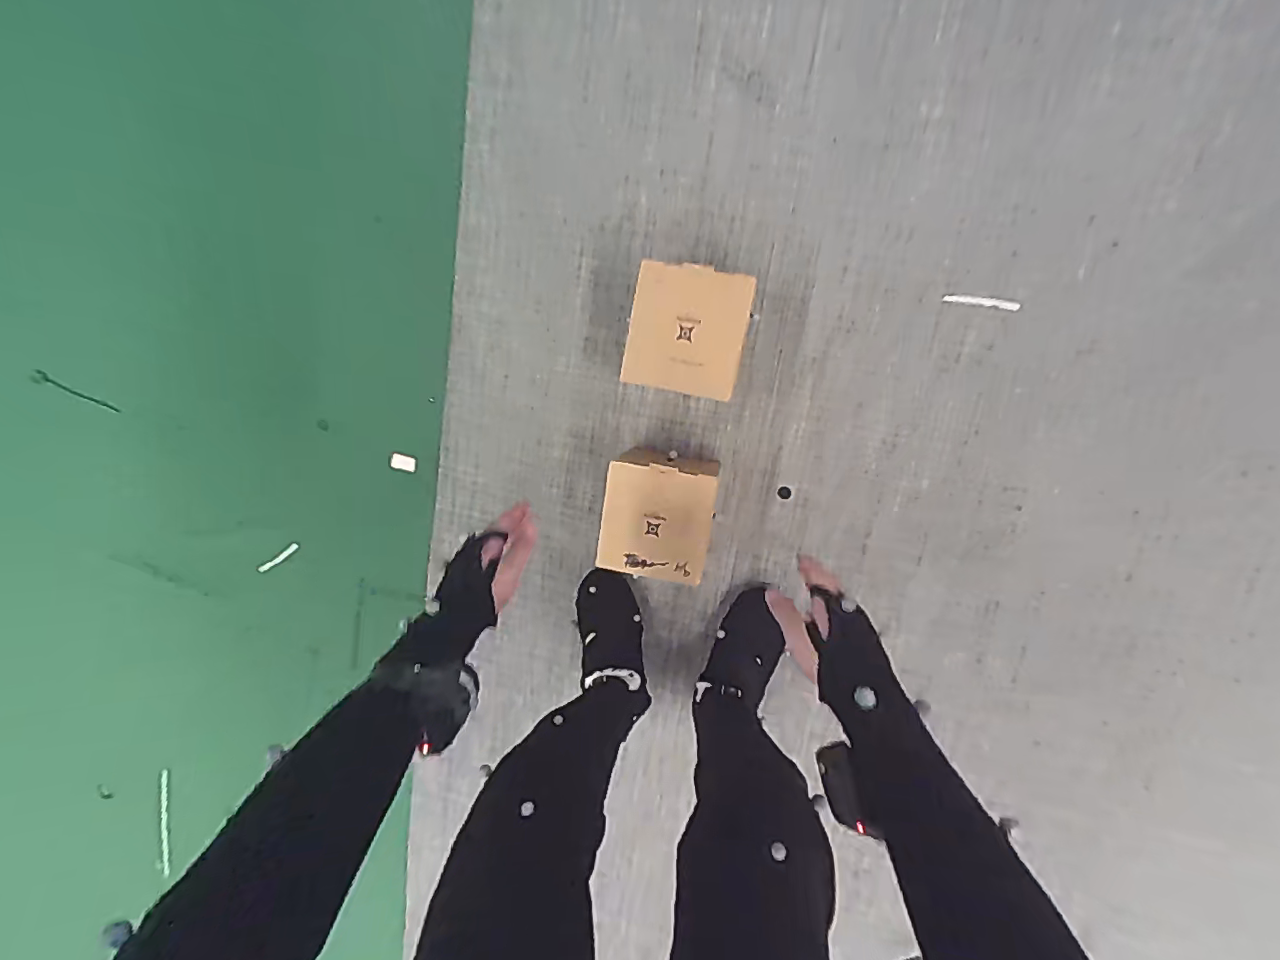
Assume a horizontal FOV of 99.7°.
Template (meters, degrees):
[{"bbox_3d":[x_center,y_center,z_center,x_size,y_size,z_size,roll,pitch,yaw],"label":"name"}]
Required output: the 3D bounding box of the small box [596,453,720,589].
[{"bbox_3d":[0.037,0.056,0.894,0.168,0.176,0.179,10,100,10],"label":"small box"}]
